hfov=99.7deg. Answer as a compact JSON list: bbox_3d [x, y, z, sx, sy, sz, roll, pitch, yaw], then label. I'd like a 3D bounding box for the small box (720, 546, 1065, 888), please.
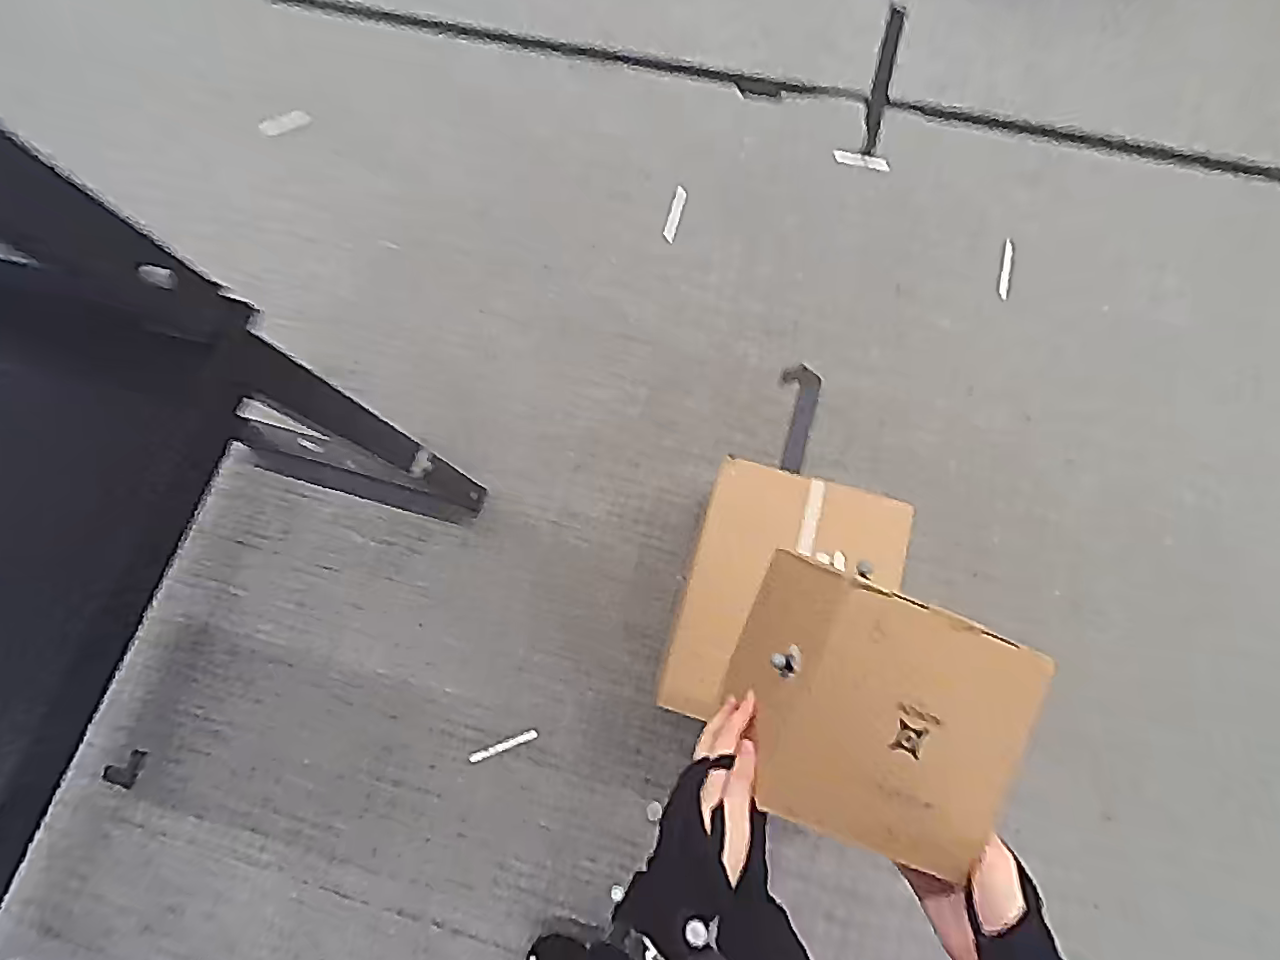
[{"bbox_3d":[0.181,0.168,0.444,0.168,0.176,0.179,23,90,-4],"label":"small box"}]

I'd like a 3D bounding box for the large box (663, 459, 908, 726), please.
[{"bbox_3d":[0.235,0.226,0.971,0.320,0.320,0.408,16,76,5],"label":"large box"}]
